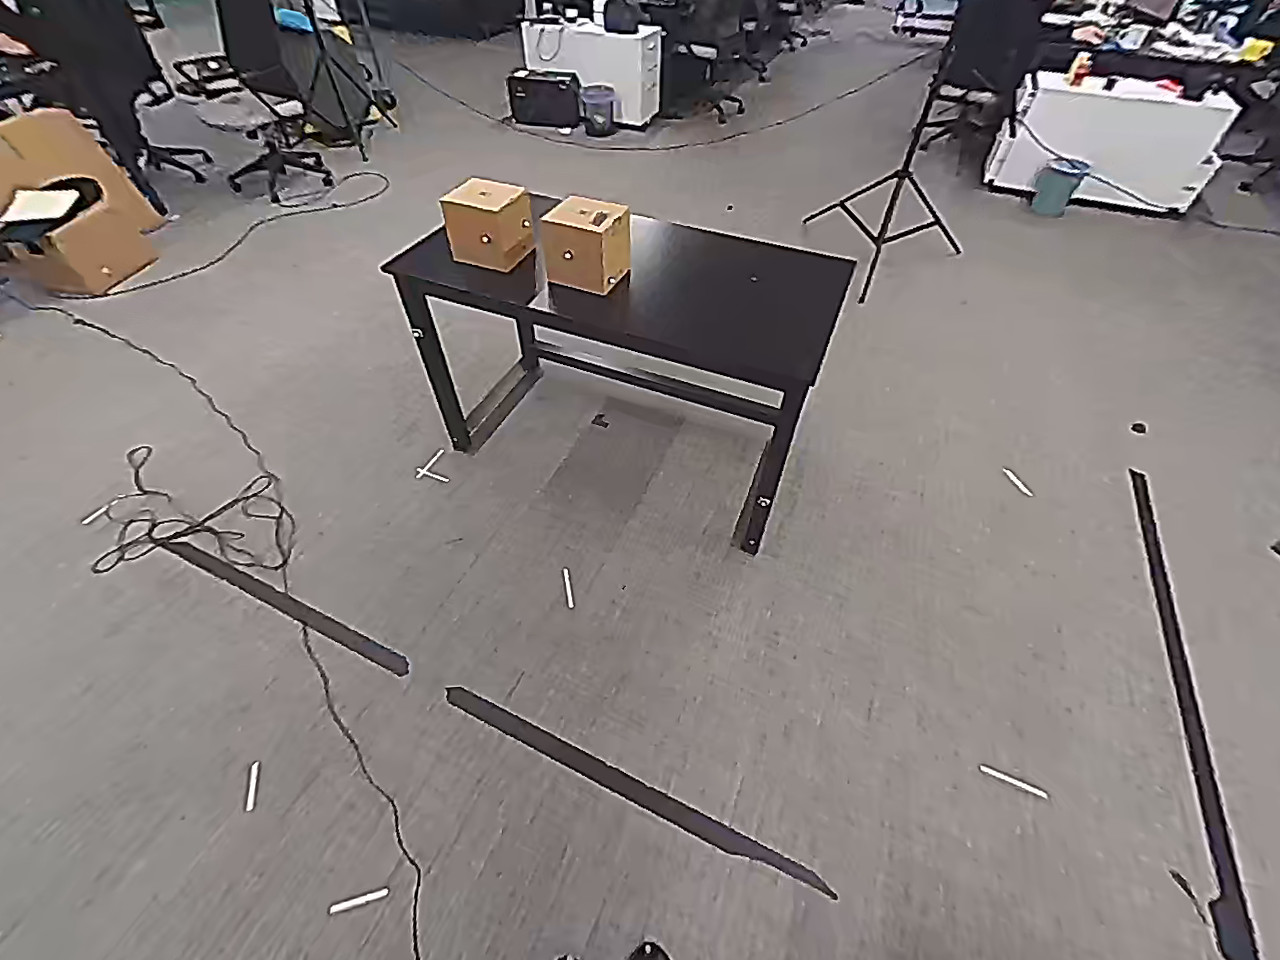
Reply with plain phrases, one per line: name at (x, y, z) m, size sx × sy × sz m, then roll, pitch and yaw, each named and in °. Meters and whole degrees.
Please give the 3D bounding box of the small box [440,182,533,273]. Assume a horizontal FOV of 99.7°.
small box at (-0.413, -0.694, 1.496) m, size 0.179 × 0.176 × 0.168 m, roll 16°, pitch 50°, yaw 13°

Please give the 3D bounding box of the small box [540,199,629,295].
small box at (-0.138, -0.611, 1.427) m, size 0.179 × 0.176 × 0.168 m, roll 19°, pitch 51°, yaw 16°
